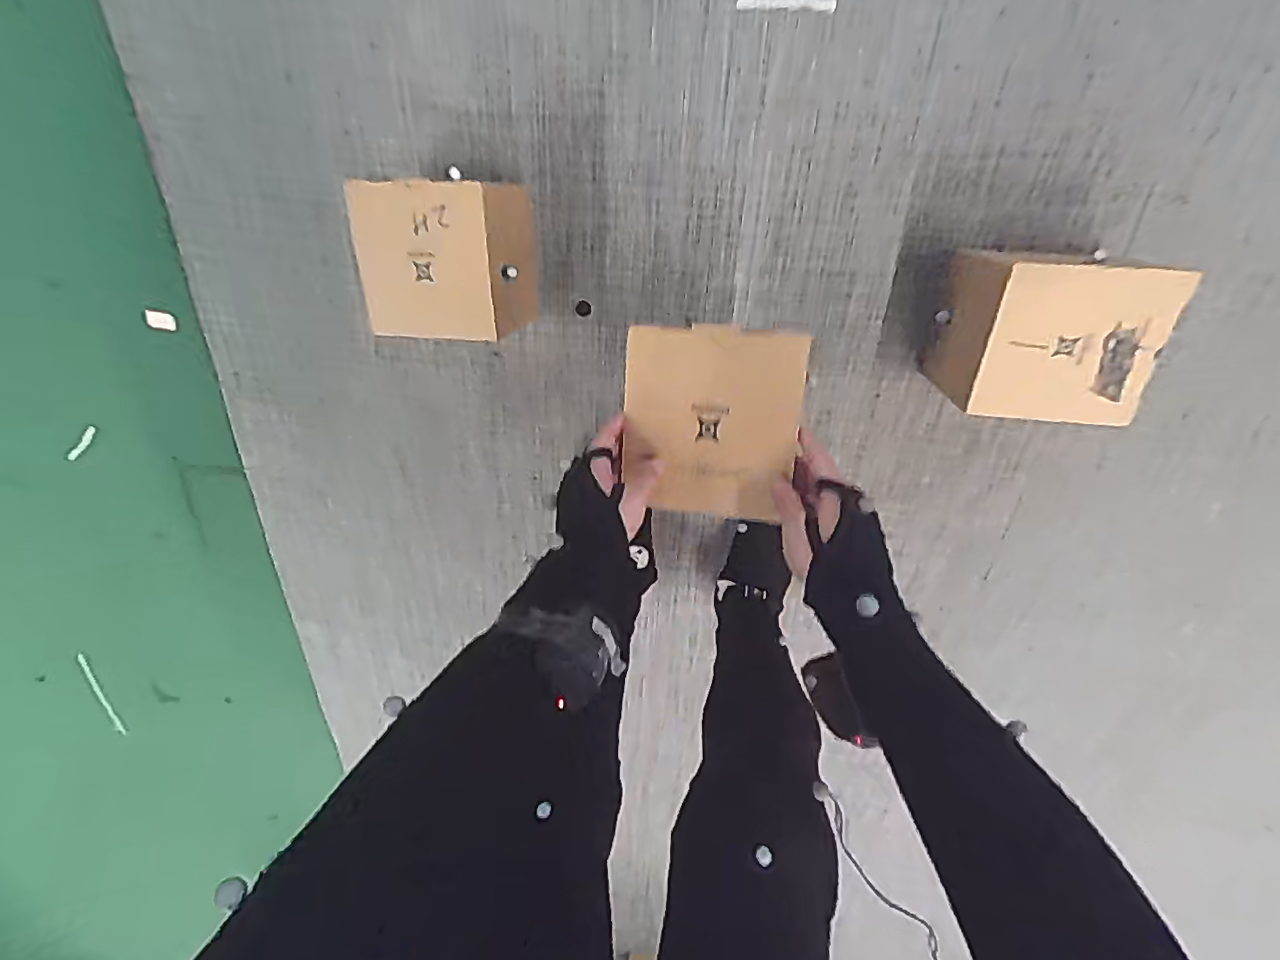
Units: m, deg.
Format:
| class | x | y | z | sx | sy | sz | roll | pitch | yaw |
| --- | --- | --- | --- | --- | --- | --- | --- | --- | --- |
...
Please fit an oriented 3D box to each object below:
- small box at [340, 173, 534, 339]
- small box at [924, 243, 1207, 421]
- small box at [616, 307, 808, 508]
| class | x | y | z | sx | sy | sz | roll | pitch | yaw |
| --- | --- | --- | --- | --- | --- | --- | --- | --- | --- |
| small box | -0.242 | -0.293 | 0.699 | 0.168 | 0.176 | 0.179 | 5 | 117 | 7 |
| small box | 0.465 | -0.180 | 0.631 | 0.179 | 0.176 | 0.168 | 6 | 117 | 7 |
| small box | 0.079 | -0.084 | 0.573 | 0.168 | 0.176 | 0.179 | 7 | 106 | 14 |
